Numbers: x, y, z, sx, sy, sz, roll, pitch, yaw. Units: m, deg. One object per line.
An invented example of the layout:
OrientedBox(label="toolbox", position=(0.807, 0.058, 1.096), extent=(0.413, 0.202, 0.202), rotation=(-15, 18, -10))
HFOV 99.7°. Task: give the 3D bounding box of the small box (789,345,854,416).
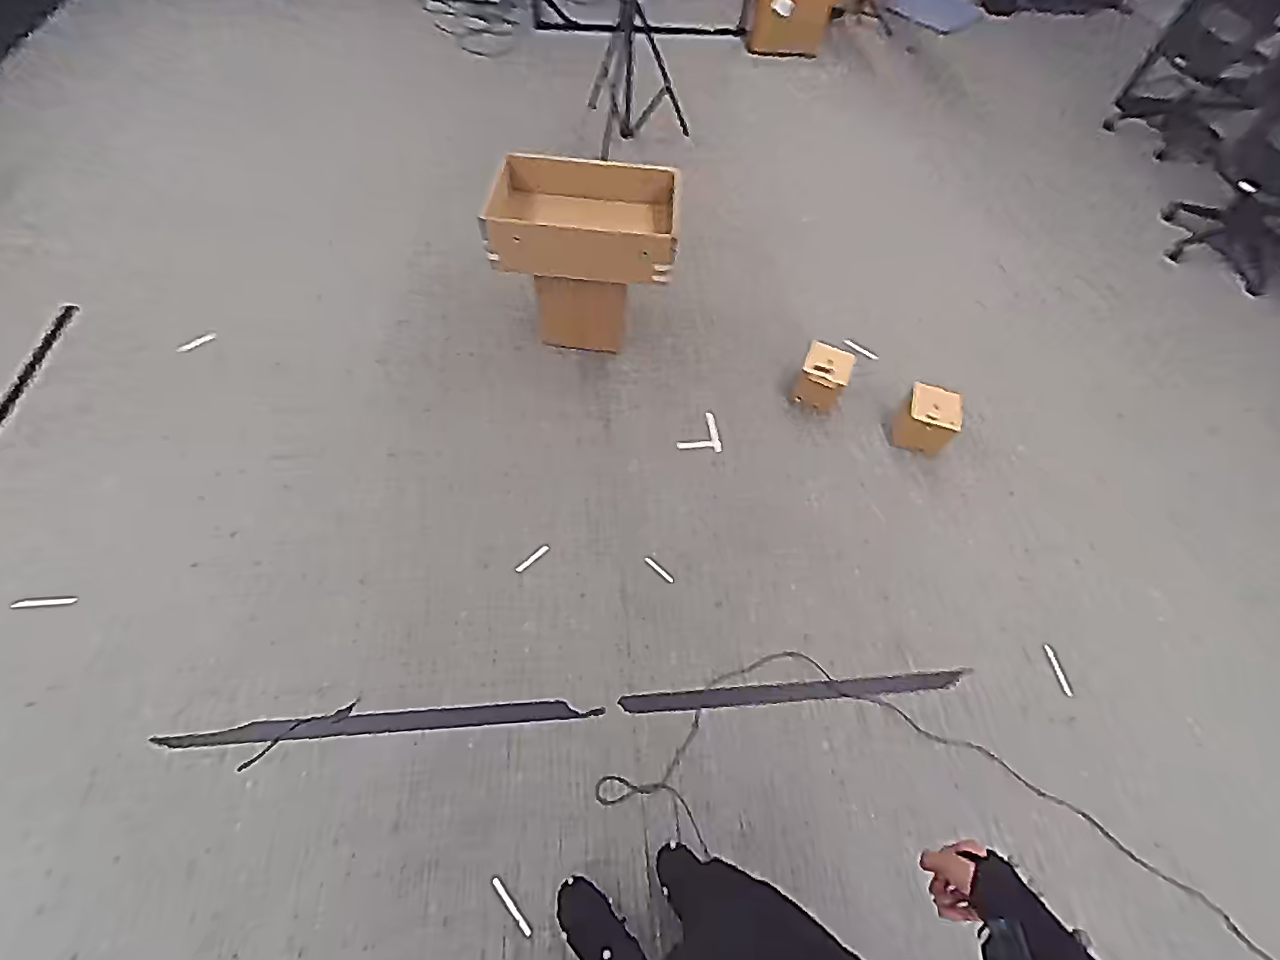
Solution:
OrientedBox(label="small box", position=(0.682, -0.372, 2.049), extent=(0.168, 0.176, 0.179), rotation=(24, 59, 11))

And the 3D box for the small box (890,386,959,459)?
OrientedBox(label="small box", position=(1.033, -0.207, 1.970), extent=(0.168, 0.176, 0.179), rotation=(18, 58, 7))
